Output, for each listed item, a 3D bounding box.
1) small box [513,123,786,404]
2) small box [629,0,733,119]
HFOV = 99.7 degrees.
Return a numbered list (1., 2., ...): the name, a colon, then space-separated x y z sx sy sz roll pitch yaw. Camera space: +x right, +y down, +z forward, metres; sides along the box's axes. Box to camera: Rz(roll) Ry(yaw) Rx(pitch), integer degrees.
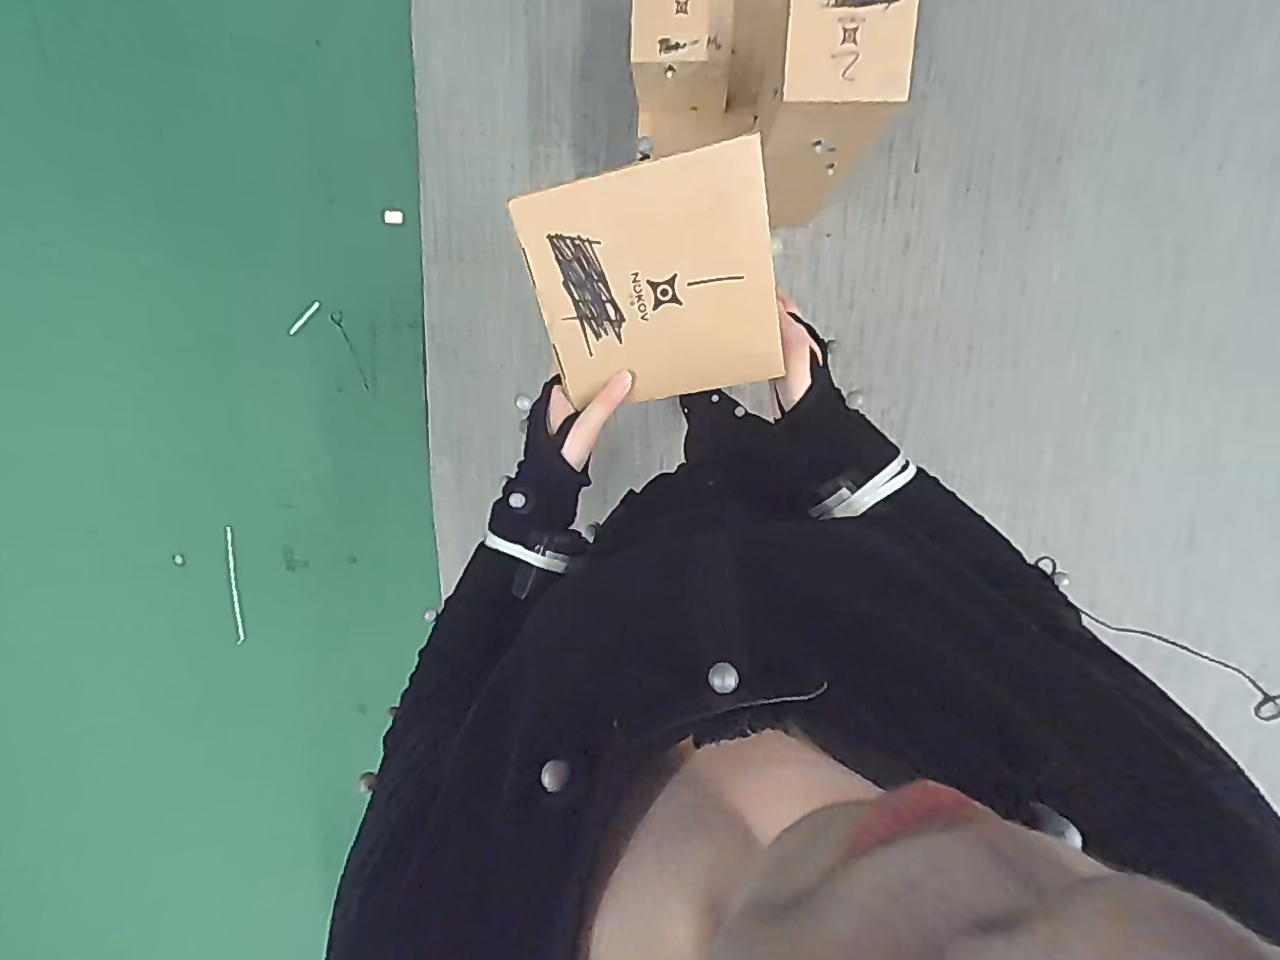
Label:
1. small box: 0.020 -0.183 0.462 0.179 0.176 0.168 -9 120 11
2. small box: 0.072 -0.770 0.946 0.168 0.176 0.179 3 98 5
